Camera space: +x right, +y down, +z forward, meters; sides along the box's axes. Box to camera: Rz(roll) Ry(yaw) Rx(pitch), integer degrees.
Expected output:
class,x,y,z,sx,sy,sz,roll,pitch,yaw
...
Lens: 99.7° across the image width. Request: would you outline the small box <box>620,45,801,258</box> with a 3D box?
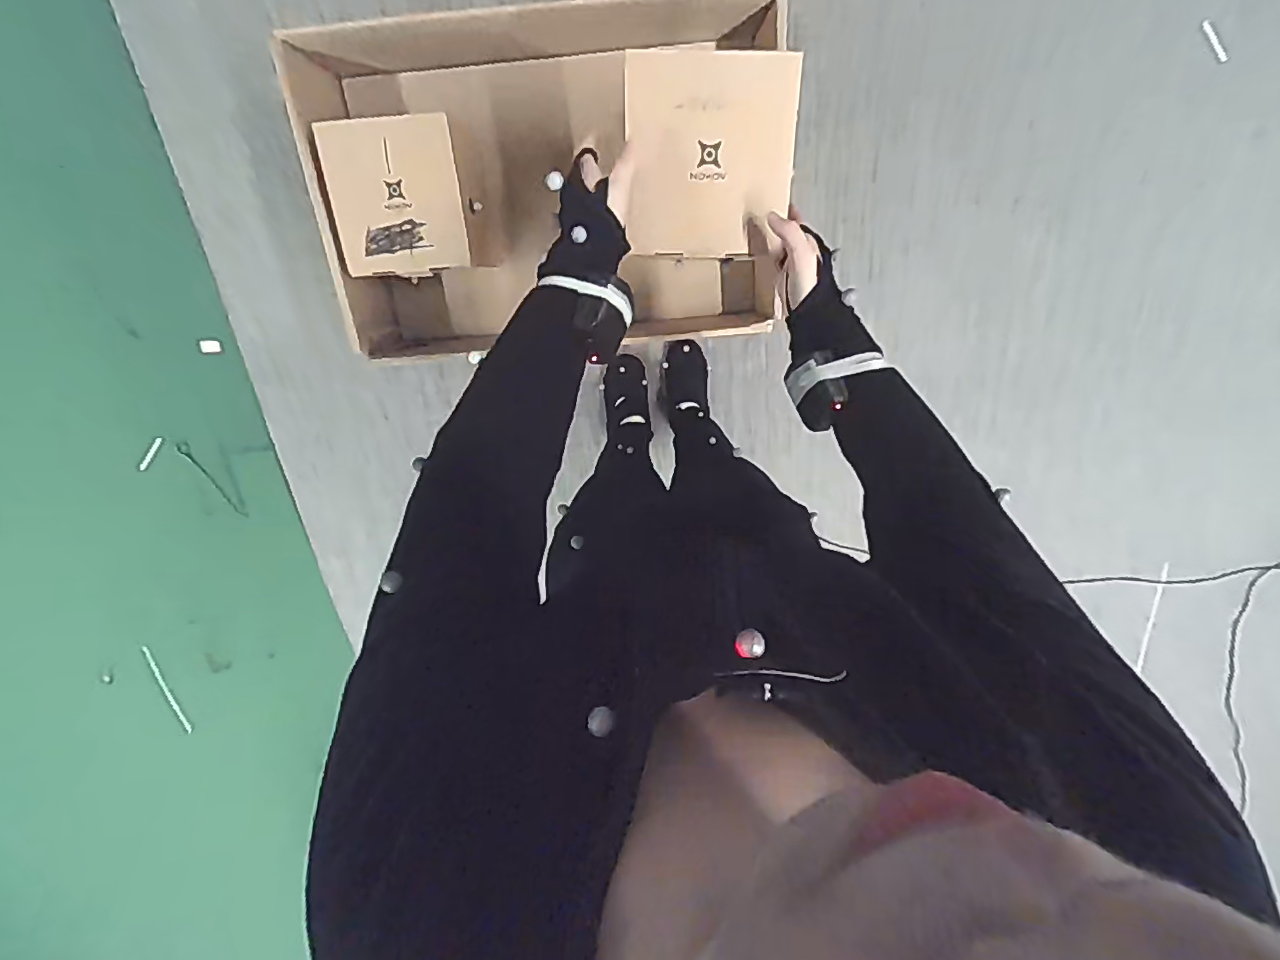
class,x,y,z,sx,sy,sz,roll,pitch,yaw
small box,0.064,-0.341,0.595,0.168,0.176,0.179,1,111,-1
